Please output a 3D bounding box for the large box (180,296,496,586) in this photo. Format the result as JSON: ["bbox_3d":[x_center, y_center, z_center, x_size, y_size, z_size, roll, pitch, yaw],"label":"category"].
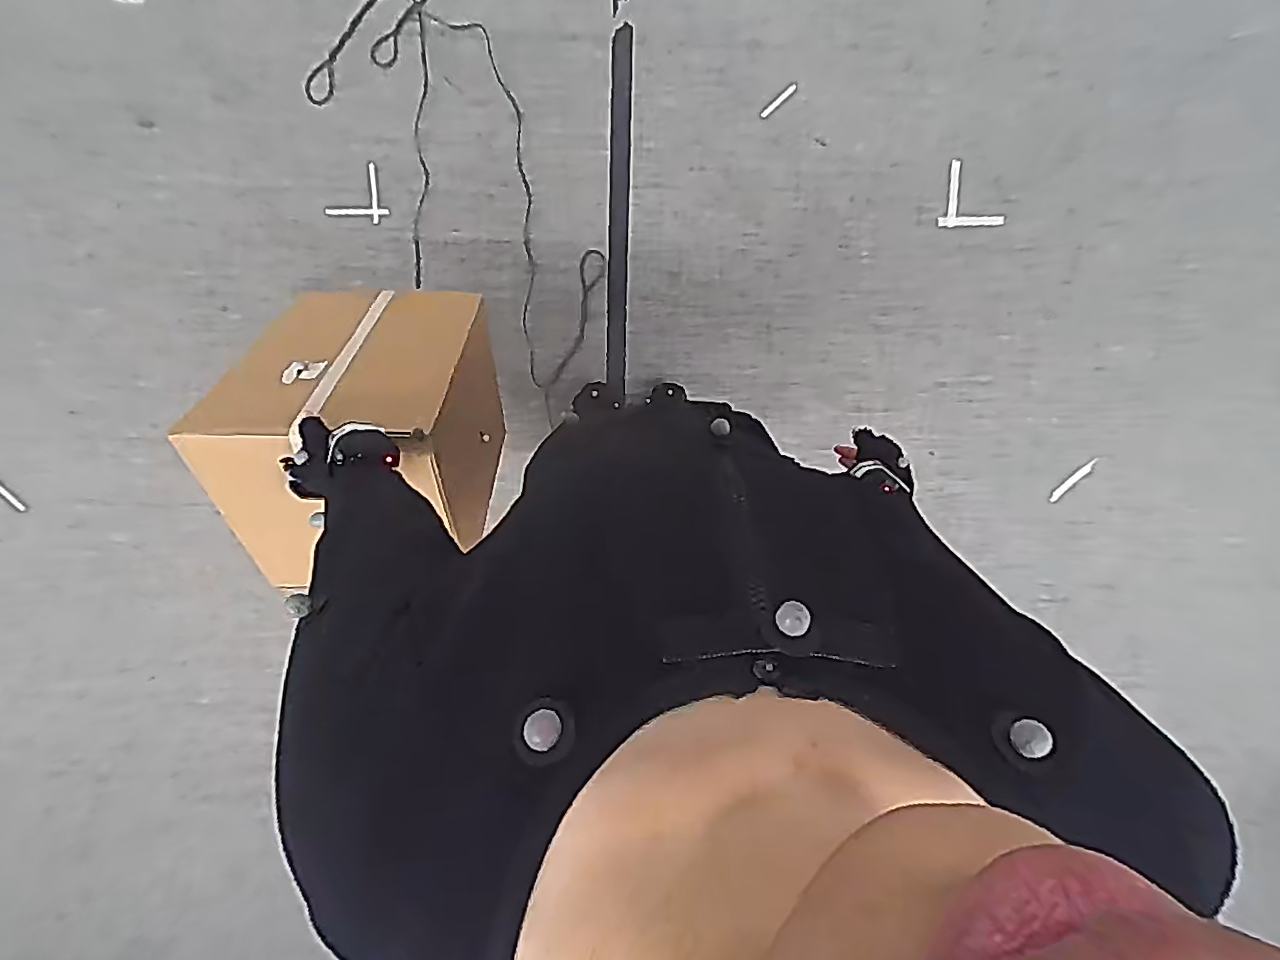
[{"bbox_3d":[-0.436,-0.075,0.917,0.320,0.408,0.320,-1,134,-4],"label":"large box"}]
